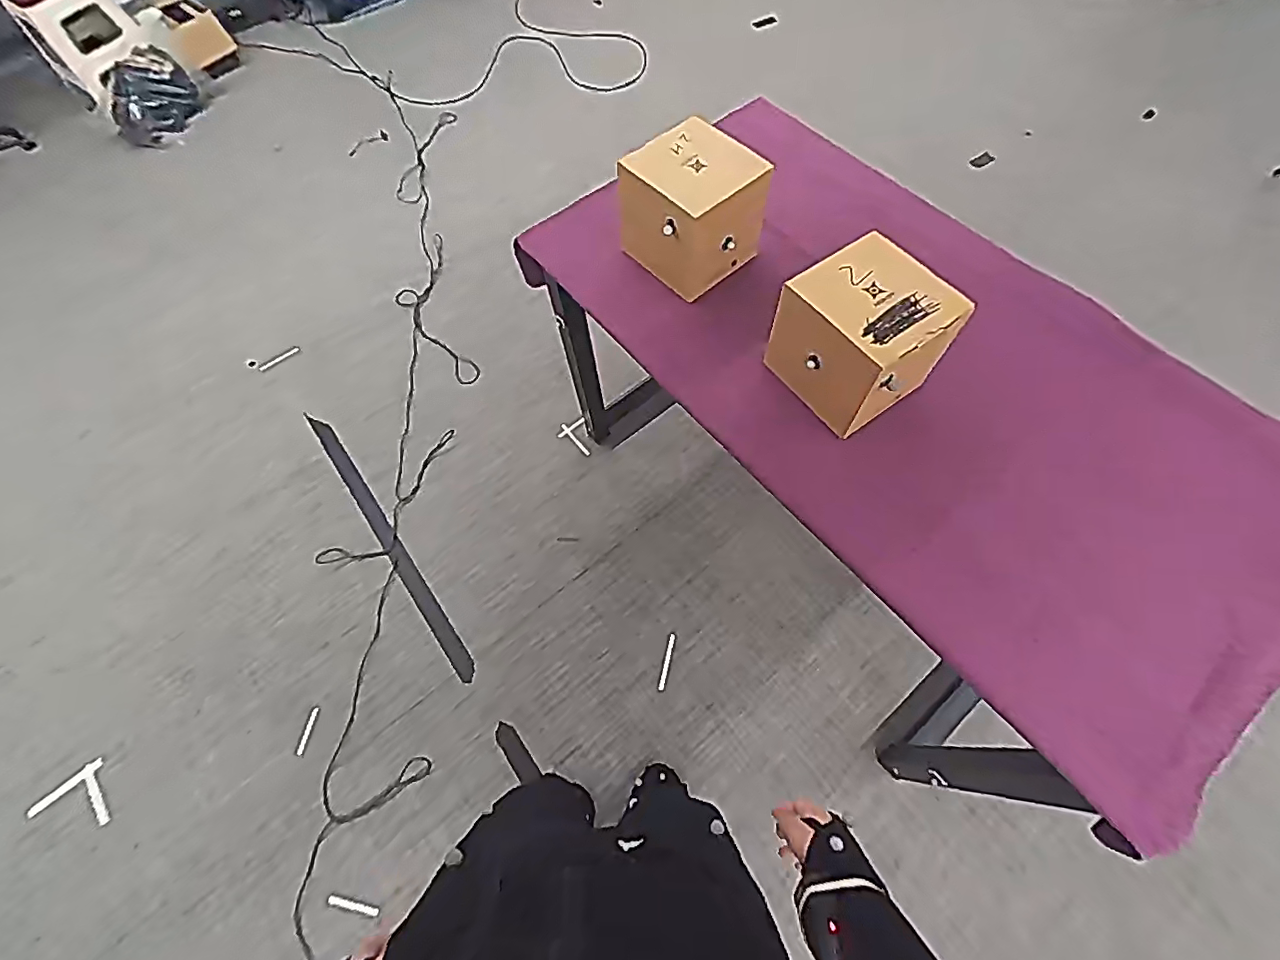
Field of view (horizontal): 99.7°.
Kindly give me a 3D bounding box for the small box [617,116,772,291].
[{"bbox_3d":[0.084,-0.438,0.880,0.168,0.176,0.179,-39,69,-16],"label":"small box"}]
